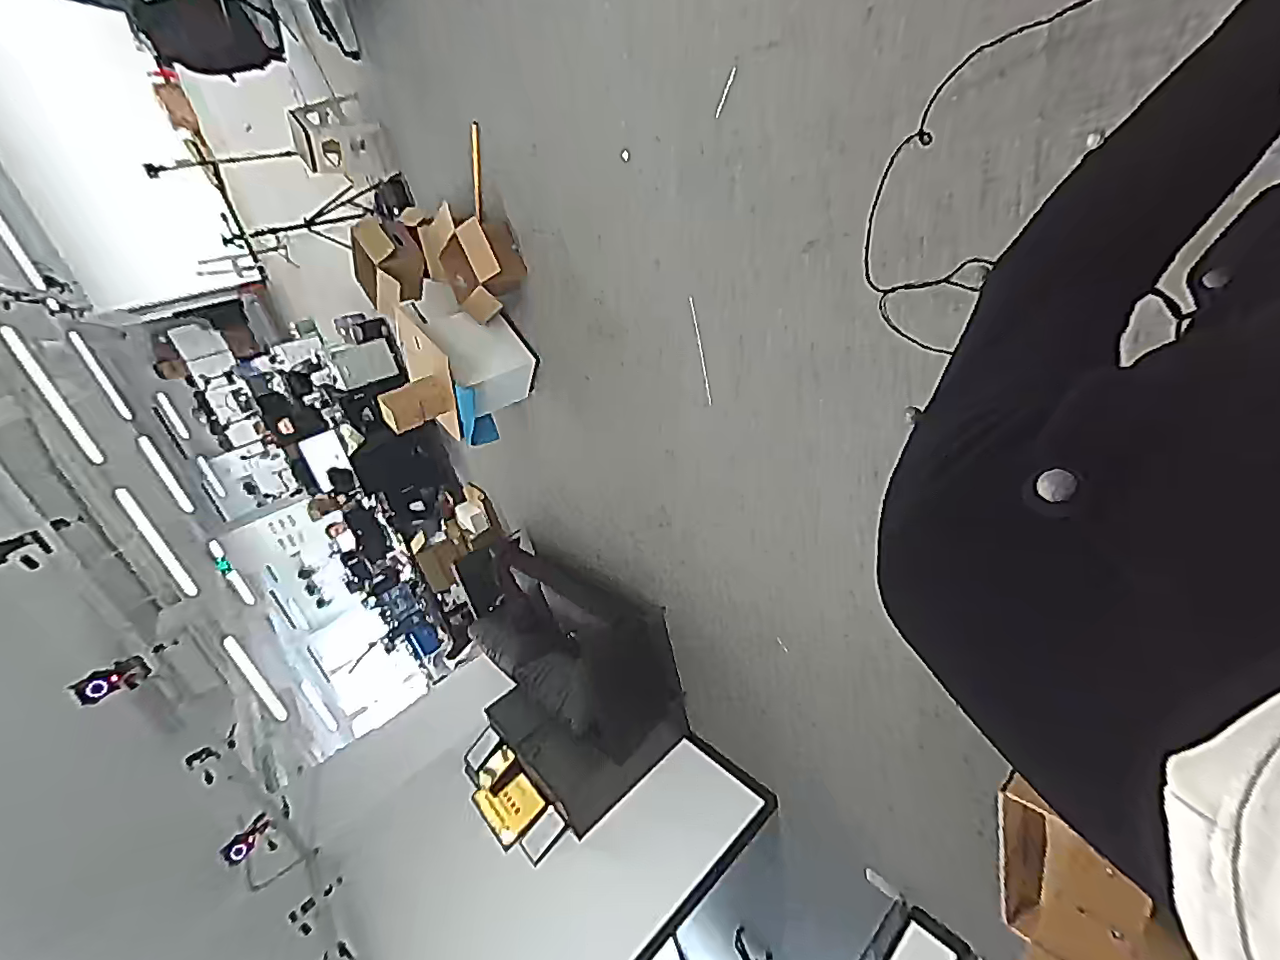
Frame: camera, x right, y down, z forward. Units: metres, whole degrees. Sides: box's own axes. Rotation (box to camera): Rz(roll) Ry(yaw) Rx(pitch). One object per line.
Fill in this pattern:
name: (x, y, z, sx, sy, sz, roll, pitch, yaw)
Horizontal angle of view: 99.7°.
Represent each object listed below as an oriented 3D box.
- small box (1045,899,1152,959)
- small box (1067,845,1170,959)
small box: (1.082, 1.157, 1.278, 0.168, 0.176, 0.179, 11, 127, 51)
small box: (1.201, 1.083, 1.362, 0.168, 0.176, 0.179, 13, 127, 49)
